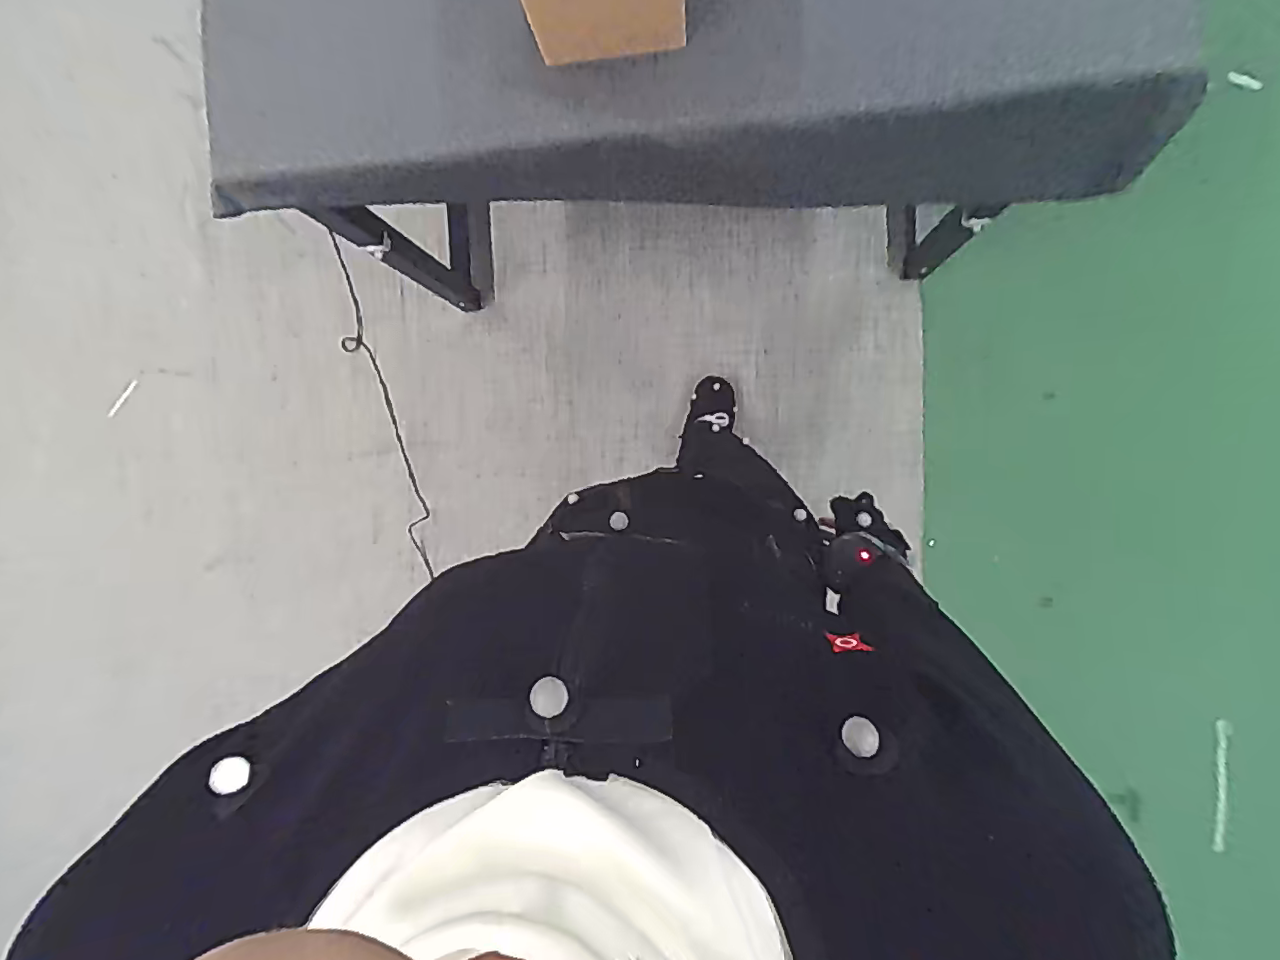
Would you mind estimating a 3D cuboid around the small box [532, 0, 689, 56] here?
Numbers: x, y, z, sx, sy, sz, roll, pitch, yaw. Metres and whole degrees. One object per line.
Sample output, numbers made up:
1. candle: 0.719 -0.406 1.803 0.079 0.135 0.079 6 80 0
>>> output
1. small box: -0.039 -0.606 0.588 0.179 0.176 0.168 -2 92 6
